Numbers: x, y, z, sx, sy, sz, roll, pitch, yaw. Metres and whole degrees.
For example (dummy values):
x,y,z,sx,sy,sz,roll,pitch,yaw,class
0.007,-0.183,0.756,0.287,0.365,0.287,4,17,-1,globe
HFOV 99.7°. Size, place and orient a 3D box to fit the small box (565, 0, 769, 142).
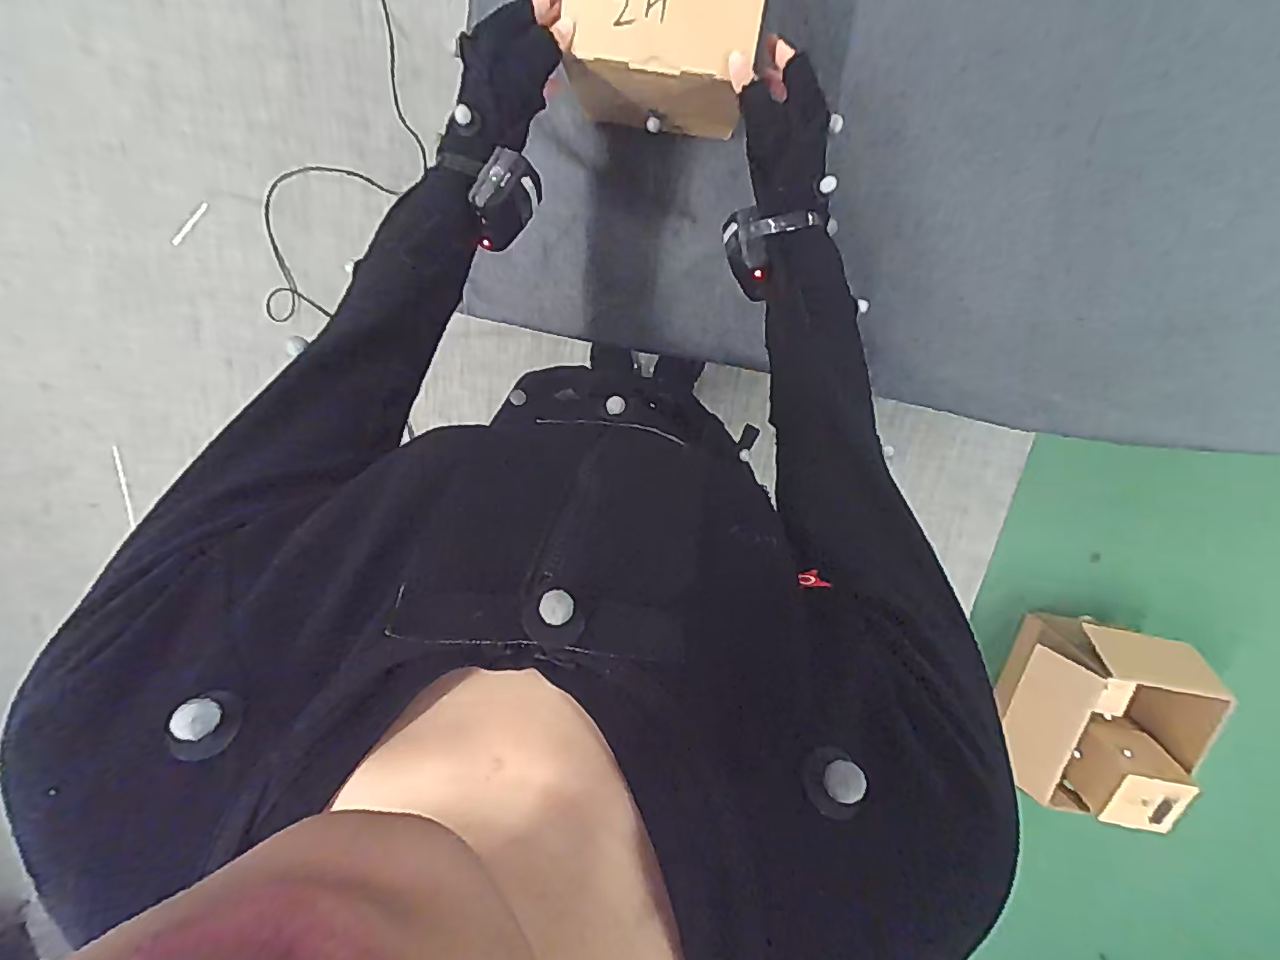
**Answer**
x,y,z,sx,sy,sz,roll,pitch,yaw,class
0.031,-0.450,0.507,0.168,0.176,0.179,8,108,0,small box
